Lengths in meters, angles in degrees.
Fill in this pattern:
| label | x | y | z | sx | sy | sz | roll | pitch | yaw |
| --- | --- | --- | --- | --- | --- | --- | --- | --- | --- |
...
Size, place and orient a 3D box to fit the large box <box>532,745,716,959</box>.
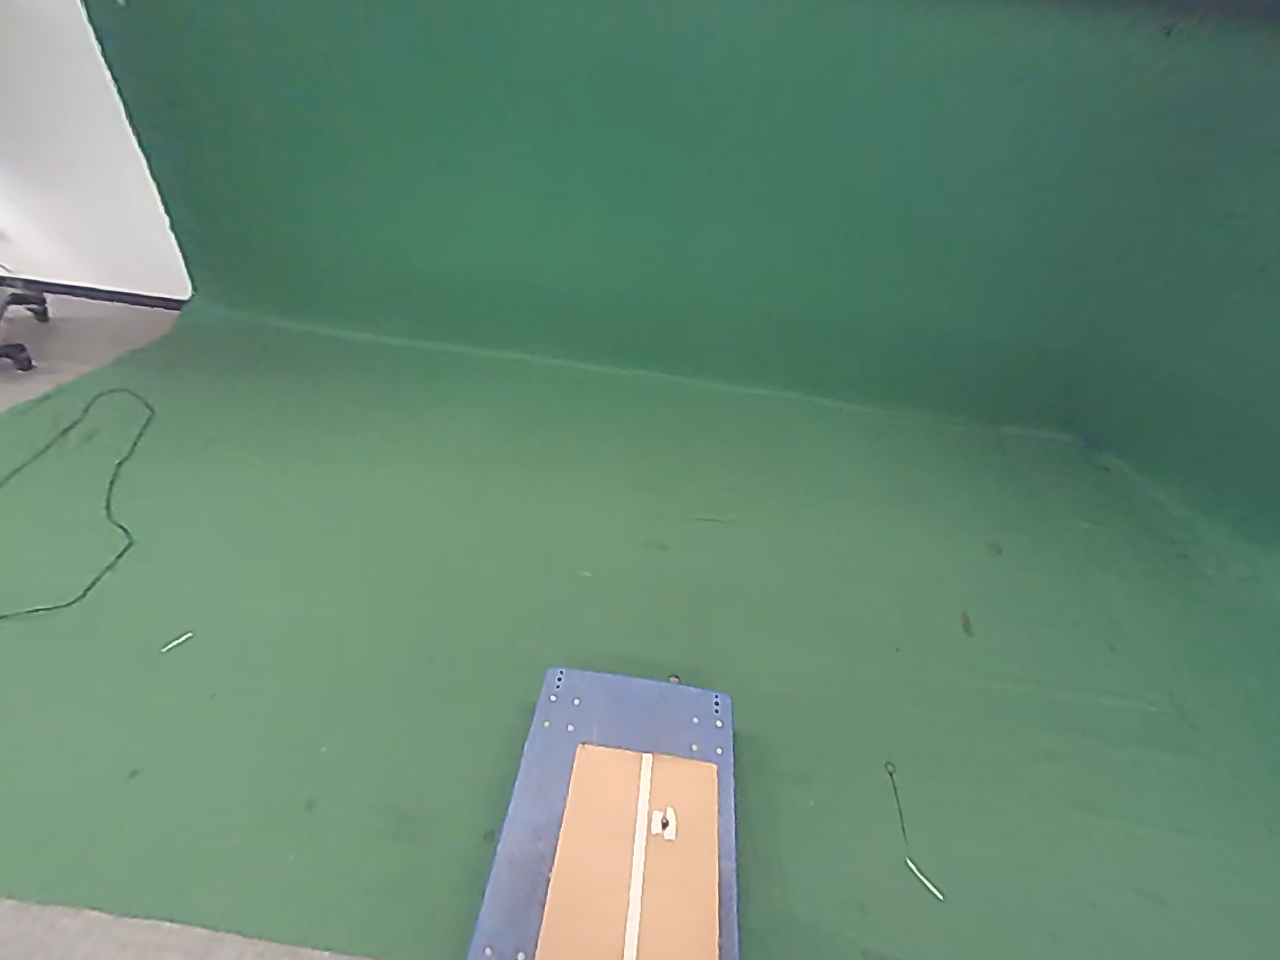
| label | x | y | z | sx | sy | sz | roll | pitch | yaw |
| --- | --- | --- | --- | --- | --- | --- | --- | --- | --- |
| large box | -0.027 | 0.841 | 1.122 | 0.320 | 0.320 | 0.408 | 9 | 36 | 0 |
